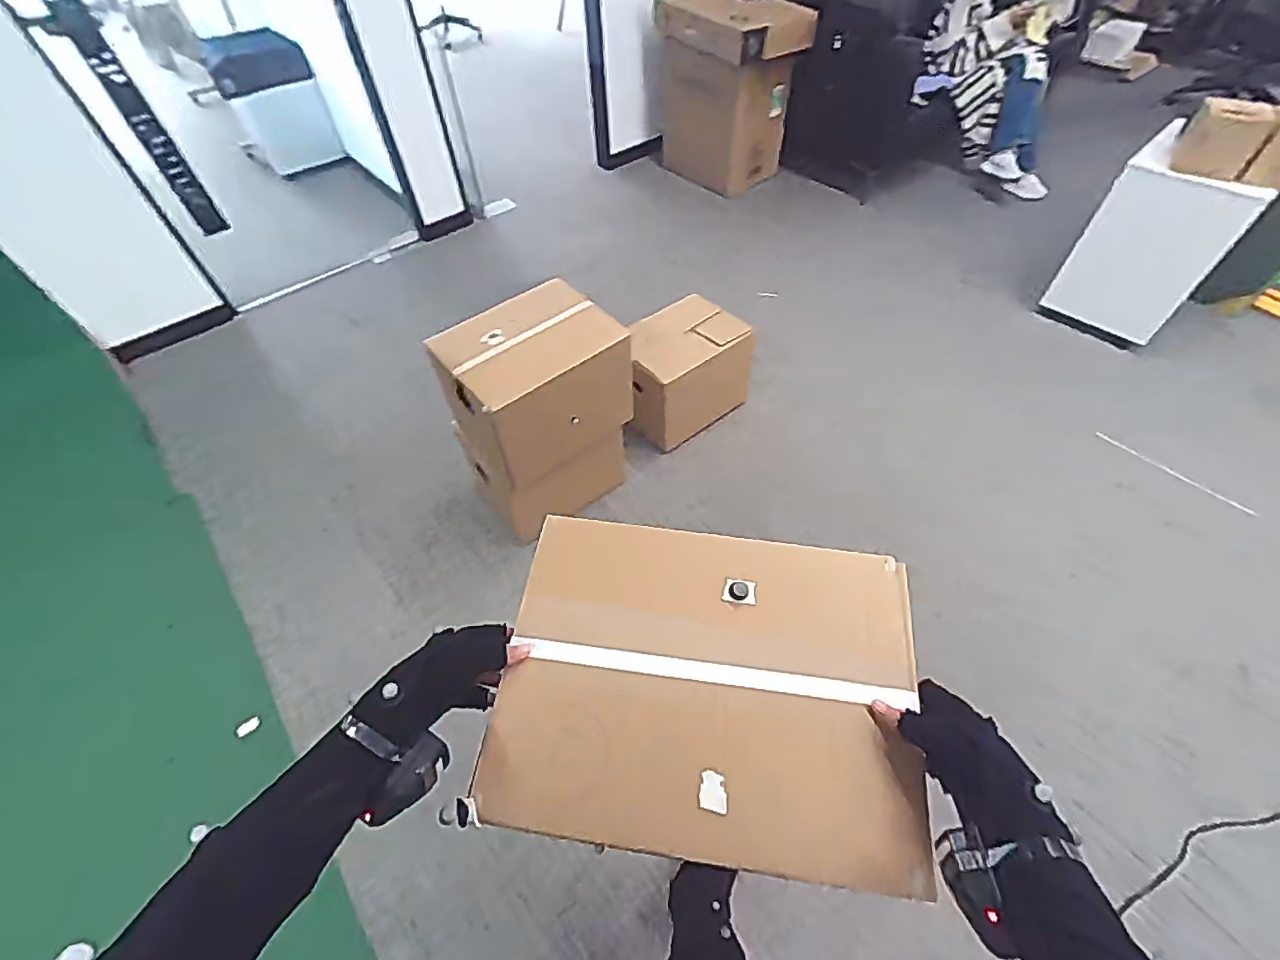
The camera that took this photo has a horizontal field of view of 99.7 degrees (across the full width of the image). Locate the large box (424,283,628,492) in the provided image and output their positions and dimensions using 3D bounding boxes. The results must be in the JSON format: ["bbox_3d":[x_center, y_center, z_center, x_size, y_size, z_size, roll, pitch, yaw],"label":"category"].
[{"bbox_3d":[-0.277,-0.246,1.436,0.408,0.320,0.320,-36,61,-22],"label":"large box"}]
